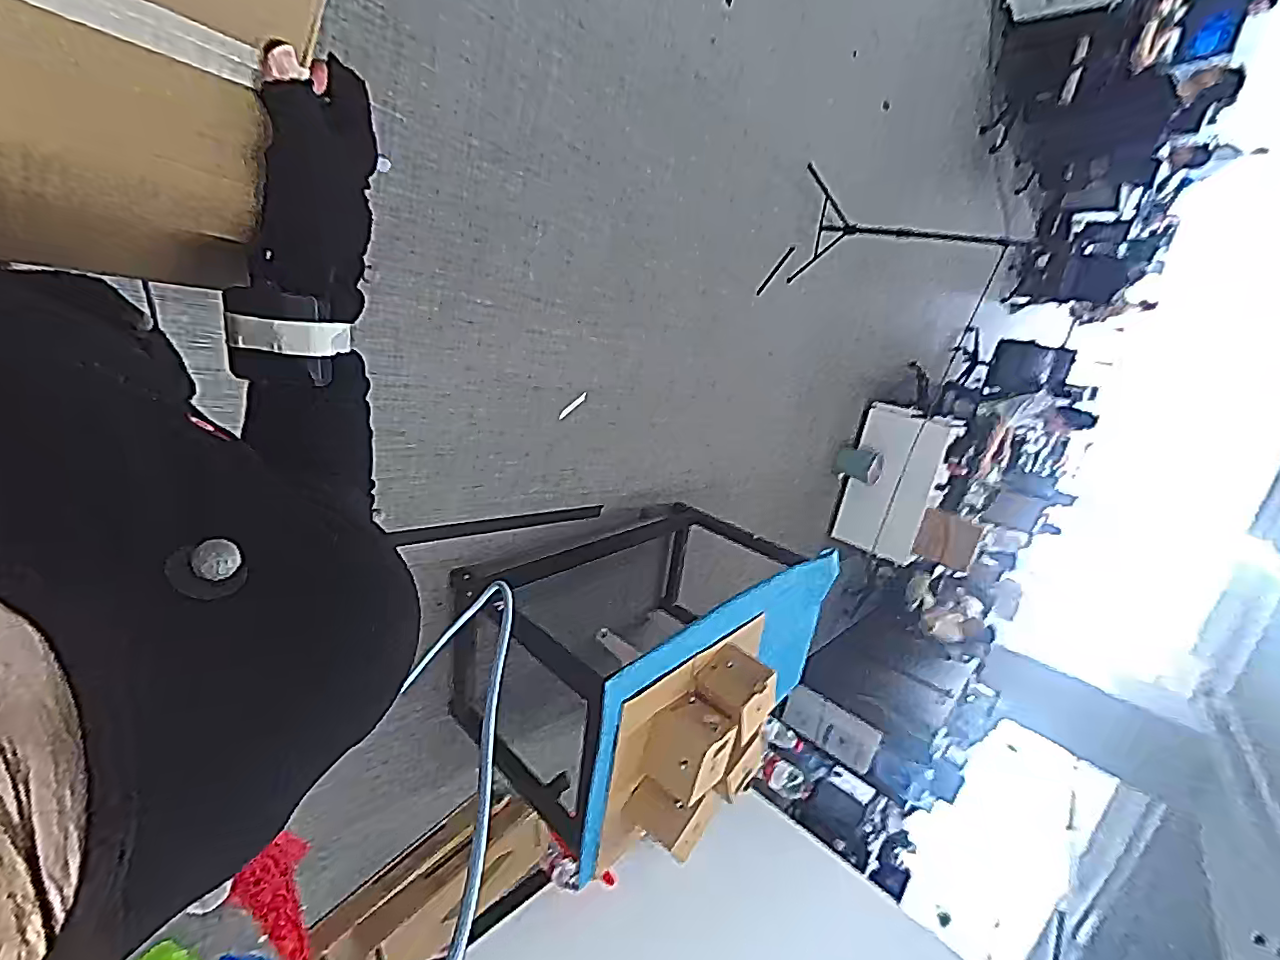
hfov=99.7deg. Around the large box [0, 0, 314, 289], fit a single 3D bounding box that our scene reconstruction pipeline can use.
[{"bbox_3d":[-0.415,-0.332,0.230,0.408,0.320,0.320,-10,149,-50],"label":"large box"}]
